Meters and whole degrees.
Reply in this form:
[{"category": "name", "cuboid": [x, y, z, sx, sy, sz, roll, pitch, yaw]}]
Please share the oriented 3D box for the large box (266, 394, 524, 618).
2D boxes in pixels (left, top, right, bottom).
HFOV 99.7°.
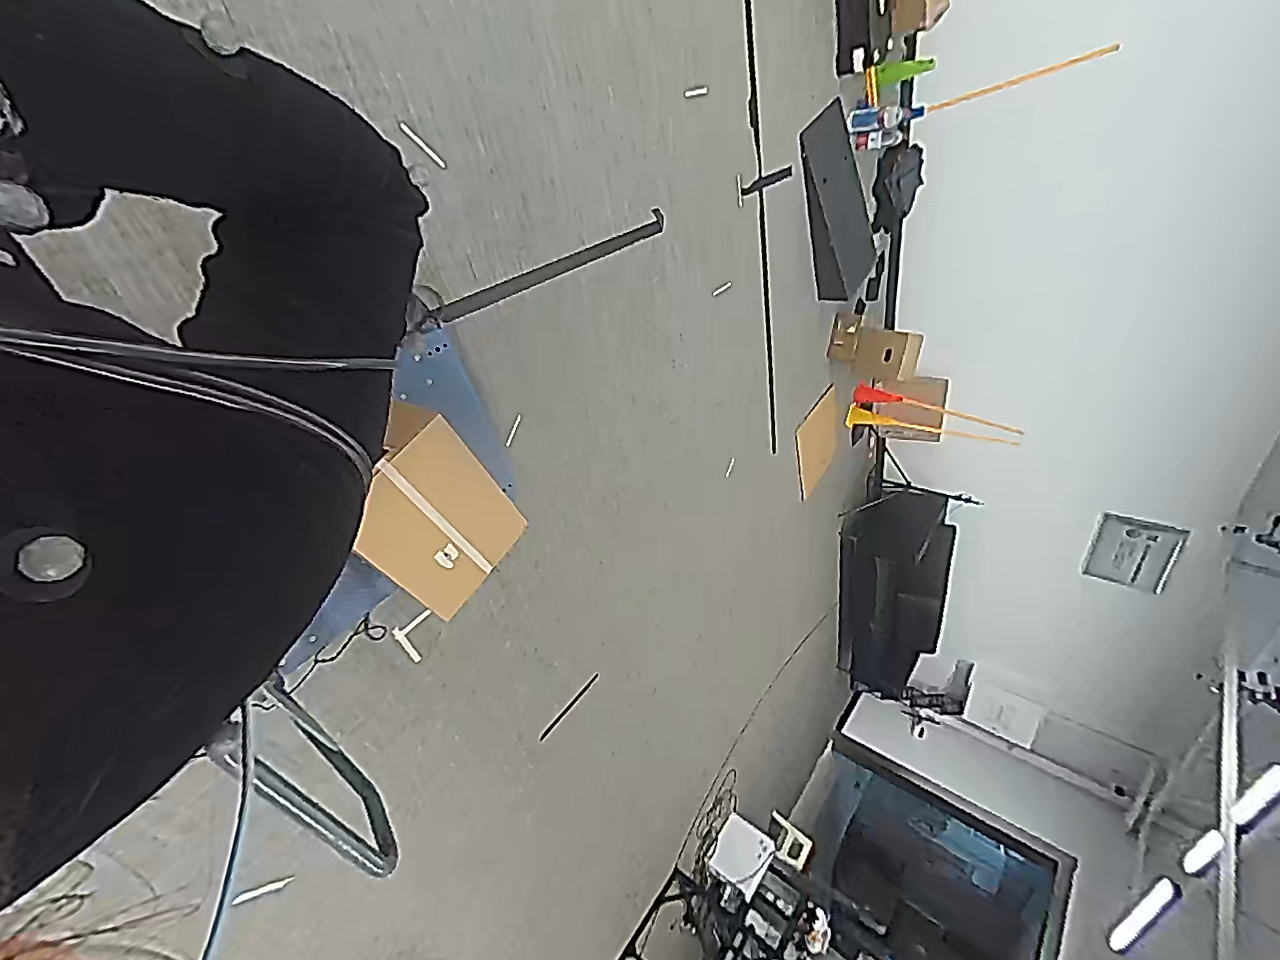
[{"category": "large box", "cuboid": [-0.563, 0.058, 1.291, 0.320, 0.320, 0.408, -52, 139, -24]}]
